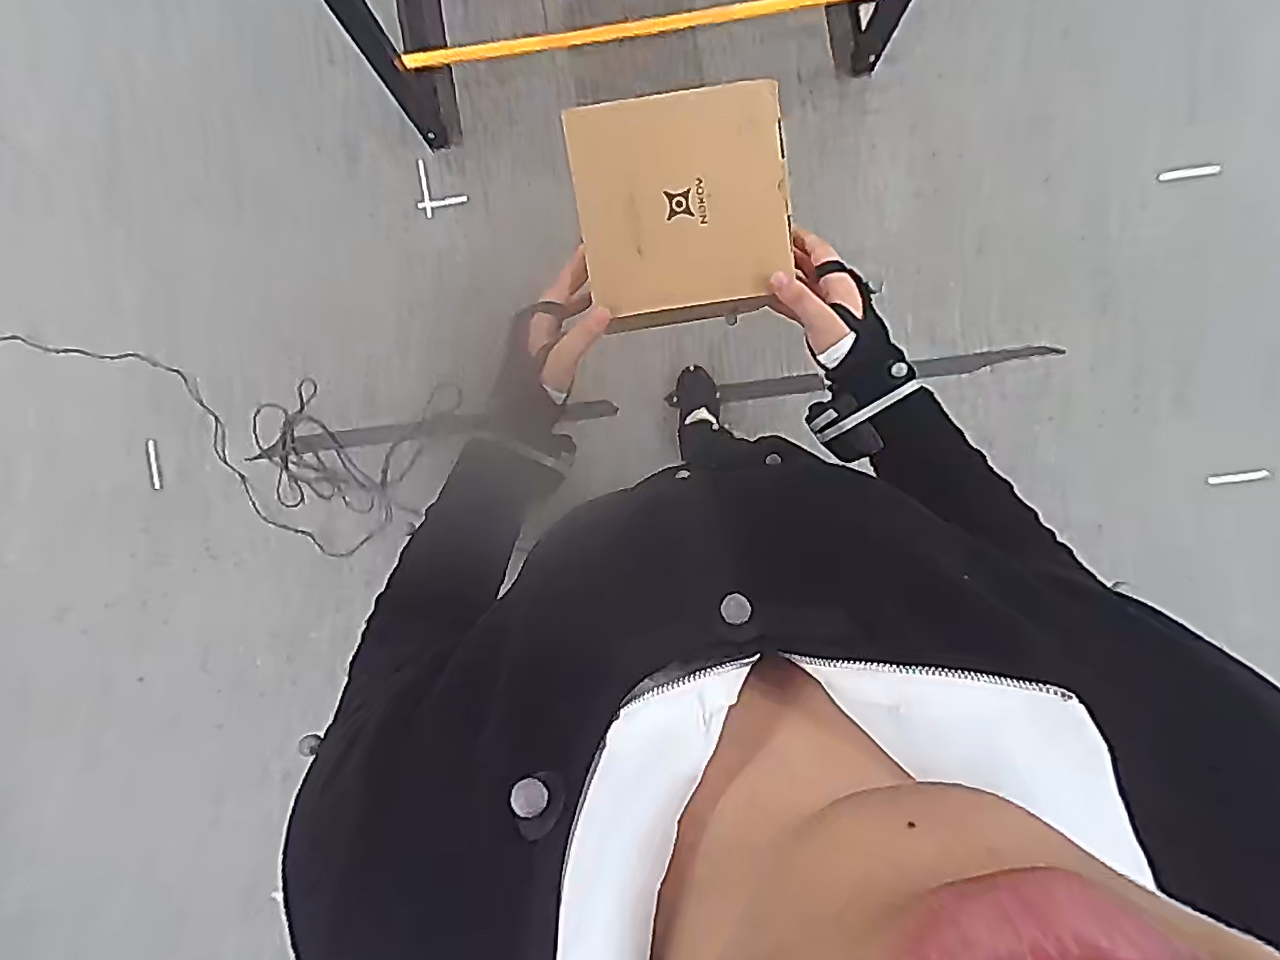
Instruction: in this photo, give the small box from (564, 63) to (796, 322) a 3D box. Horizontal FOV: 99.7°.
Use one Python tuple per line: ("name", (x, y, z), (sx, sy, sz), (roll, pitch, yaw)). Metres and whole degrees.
("small box", (0.033, -0.256, 0.525), (0.179, 0.176, 0.168), (-10, 100, 1))
